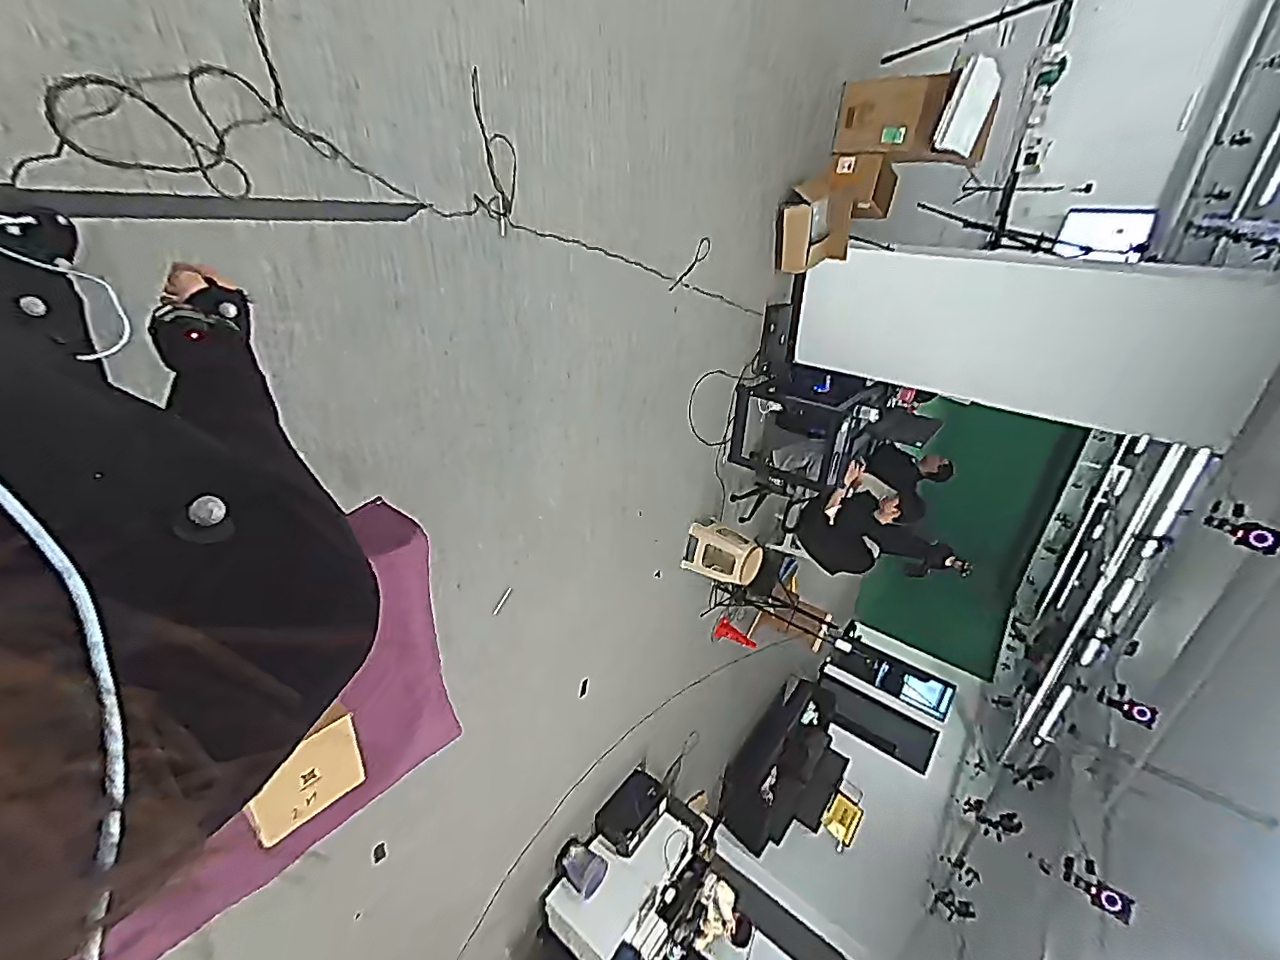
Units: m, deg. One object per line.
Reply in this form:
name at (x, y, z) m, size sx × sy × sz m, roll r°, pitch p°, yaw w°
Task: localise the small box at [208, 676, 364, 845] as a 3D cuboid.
small box at (-0.618, 0.474, 0.949) m, size 0.168 × 0.176 × 0.179 m, roll -26°, pitch 128°, yaw -46°
